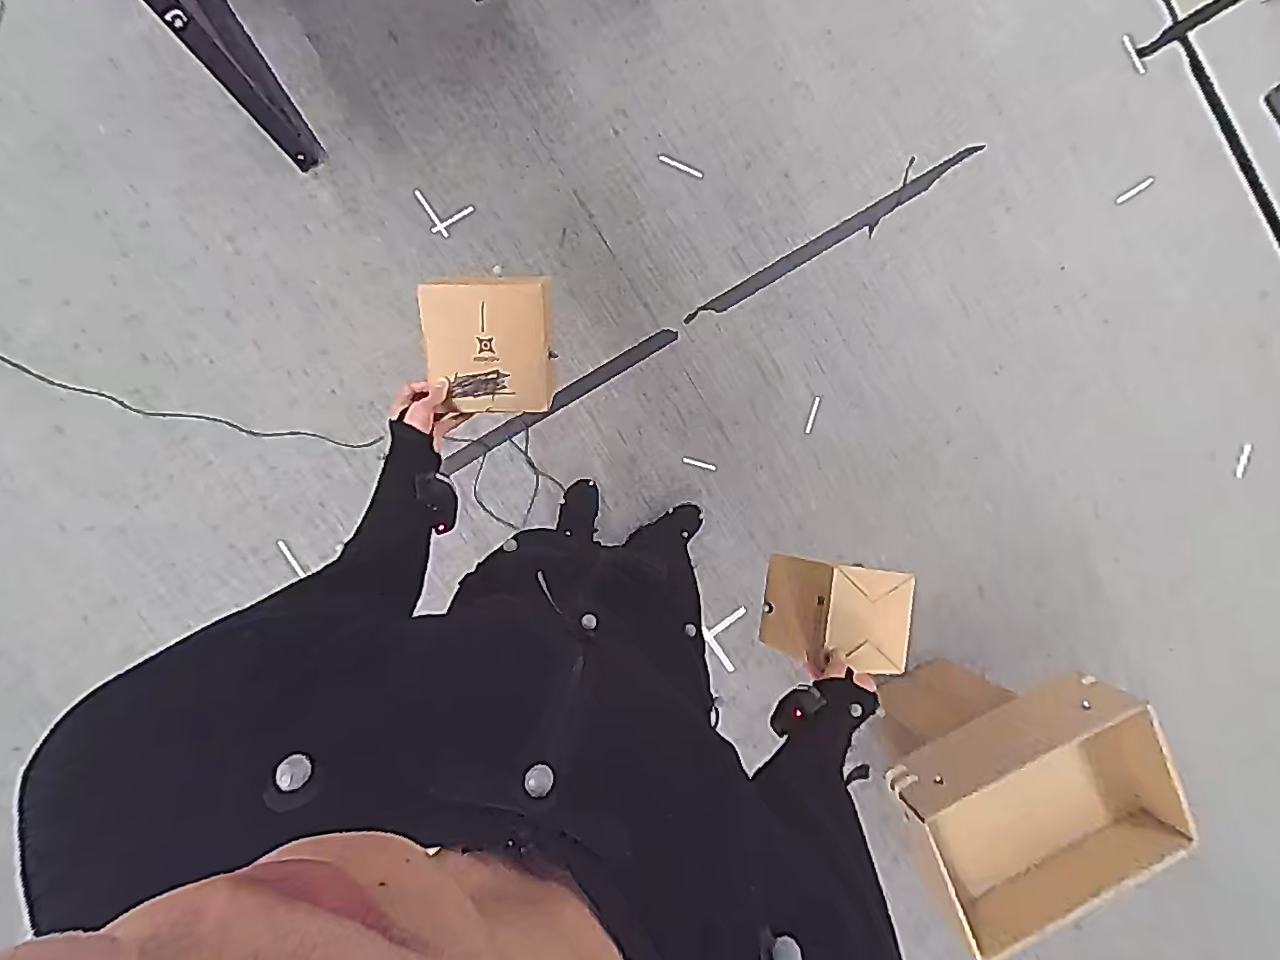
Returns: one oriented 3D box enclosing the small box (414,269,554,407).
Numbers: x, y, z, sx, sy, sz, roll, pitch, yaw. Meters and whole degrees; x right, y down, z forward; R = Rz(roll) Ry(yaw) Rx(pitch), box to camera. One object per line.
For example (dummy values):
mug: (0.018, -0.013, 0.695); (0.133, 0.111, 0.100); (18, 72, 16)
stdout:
small box: (-0.219, -0.217, 0.811); (0.168, 0.176, 0.179); (-1, 113, -5)

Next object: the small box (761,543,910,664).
small box: (0.334, 0.205, 0.917); (0.179, 0.176, 0.168); (9, 88, -23)
